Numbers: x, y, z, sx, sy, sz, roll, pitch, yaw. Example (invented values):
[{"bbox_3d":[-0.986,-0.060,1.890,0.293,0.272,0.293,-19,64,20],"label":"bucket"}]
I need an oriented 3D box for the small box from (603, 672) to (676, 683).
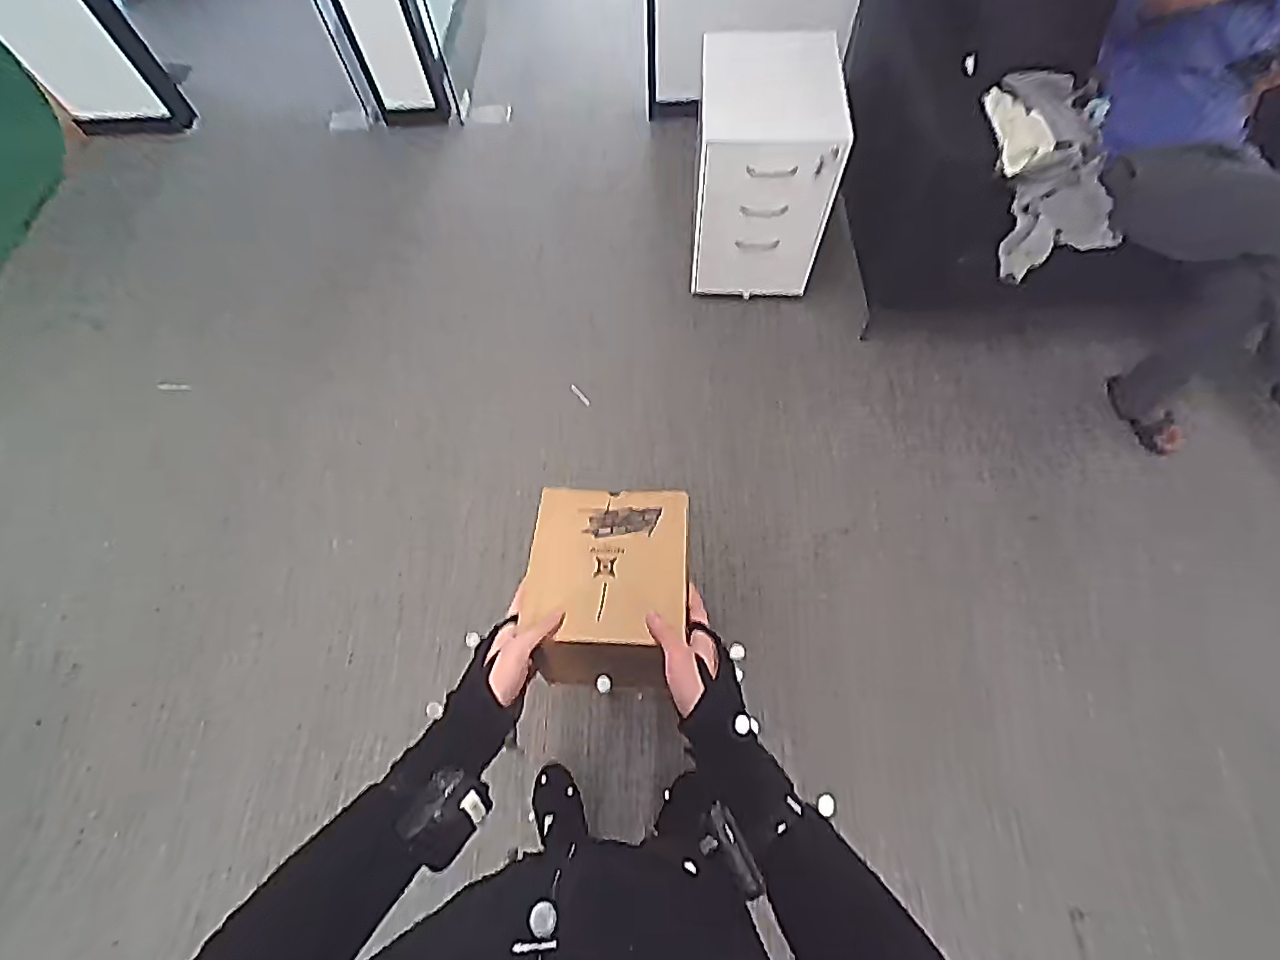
[{"bbox_3d":[0.001,0.424,1.383,0.179,0.176,0.168,1,65,1],"label":"small box"}]

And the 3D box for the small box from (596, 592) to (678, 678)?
[{"bbox_3d":[-0.003,0.357,1.234,0.179,0.176,0.168,1,65,1],"label":"small box"}]
